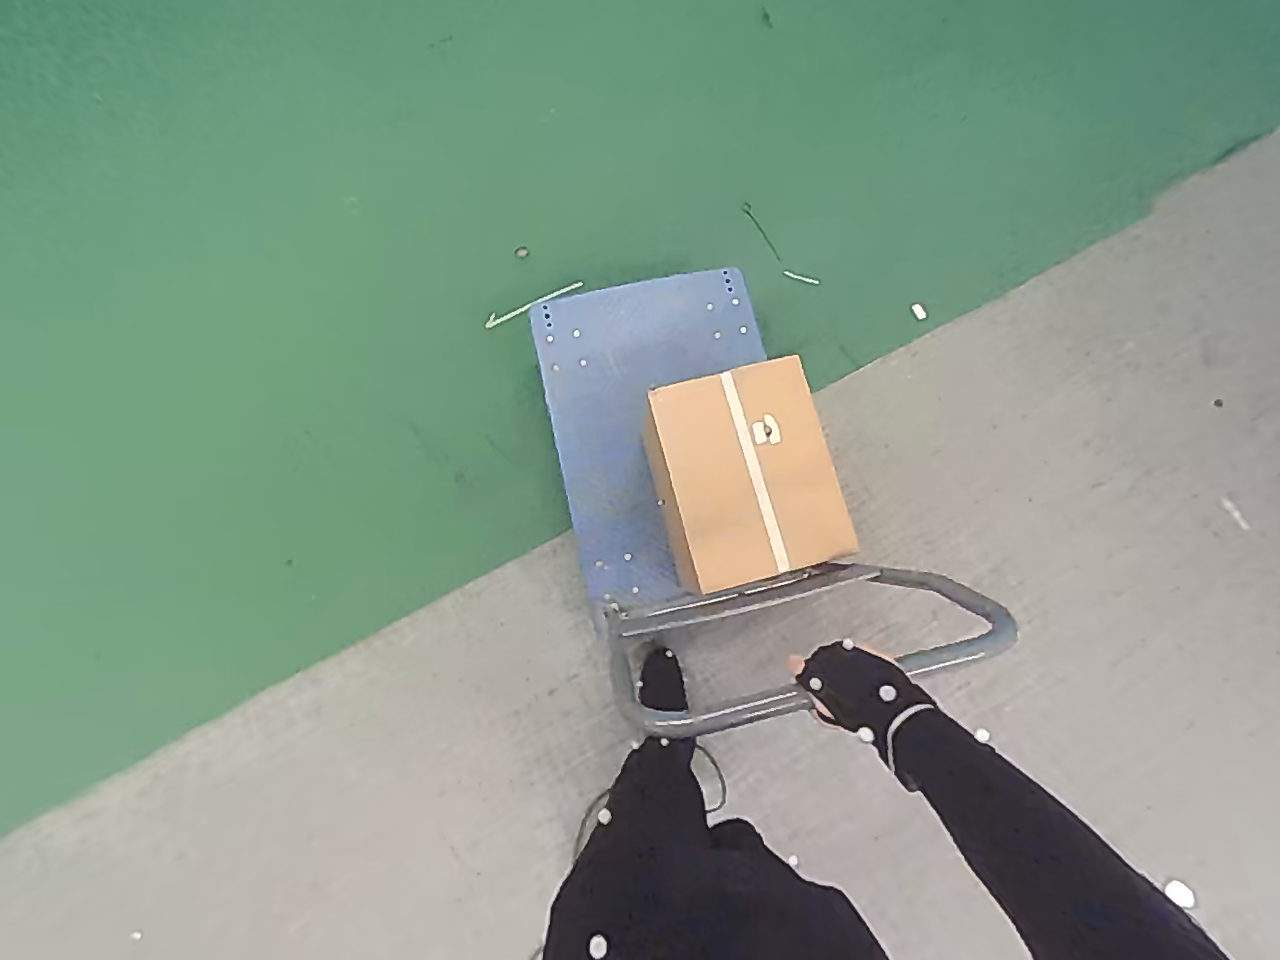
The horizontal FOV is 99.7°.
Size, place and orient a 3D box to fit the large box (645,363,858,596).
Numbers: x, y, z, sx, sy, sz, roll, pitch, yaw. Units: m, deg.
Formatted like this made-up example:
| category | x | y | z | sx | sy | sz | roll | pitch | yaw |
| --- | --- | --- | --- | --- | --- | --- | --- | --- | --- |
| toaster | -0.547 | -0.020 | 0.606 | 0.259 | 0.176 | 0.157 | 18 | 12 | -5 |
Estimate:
| category | x | y | z | sx | sy | sz | roll | pitch | yaw |
| --- | --- | --- | --- | --- | --- | --- | --- | --- | --- |
| large box | 0.211 | 0.017 | 1.184 | 0.320 | 0.320 | 0.408 | -14 | 80 | -5 |
